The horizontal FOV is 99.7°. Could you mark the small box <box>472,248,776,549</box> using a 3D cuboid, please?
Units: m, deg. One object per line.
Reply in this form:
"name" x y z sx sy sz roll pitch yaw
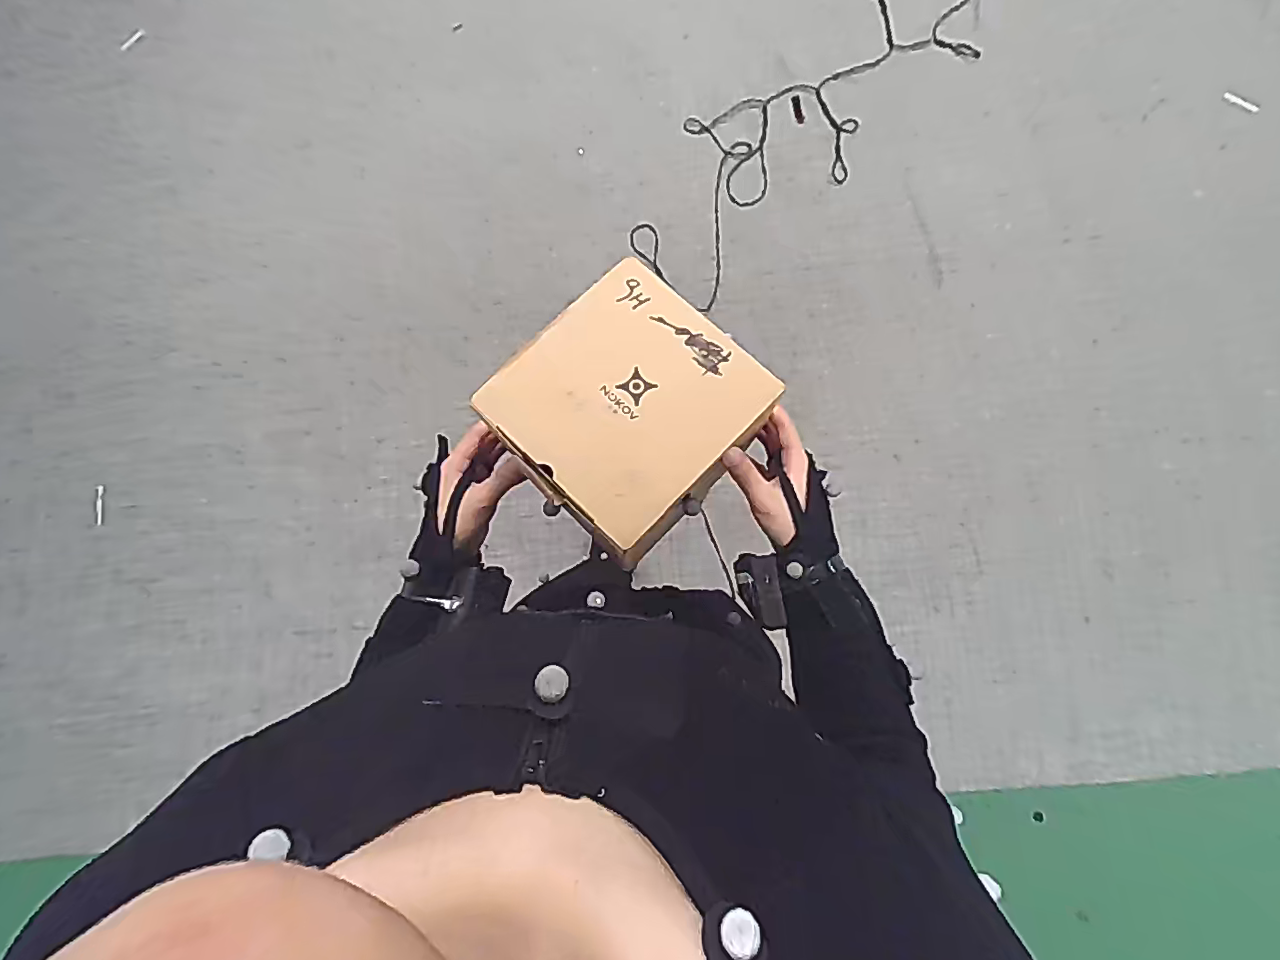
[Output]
"small box" -0.010 -0.054 0.484 0.168 0.176 0.179 42 82 9
